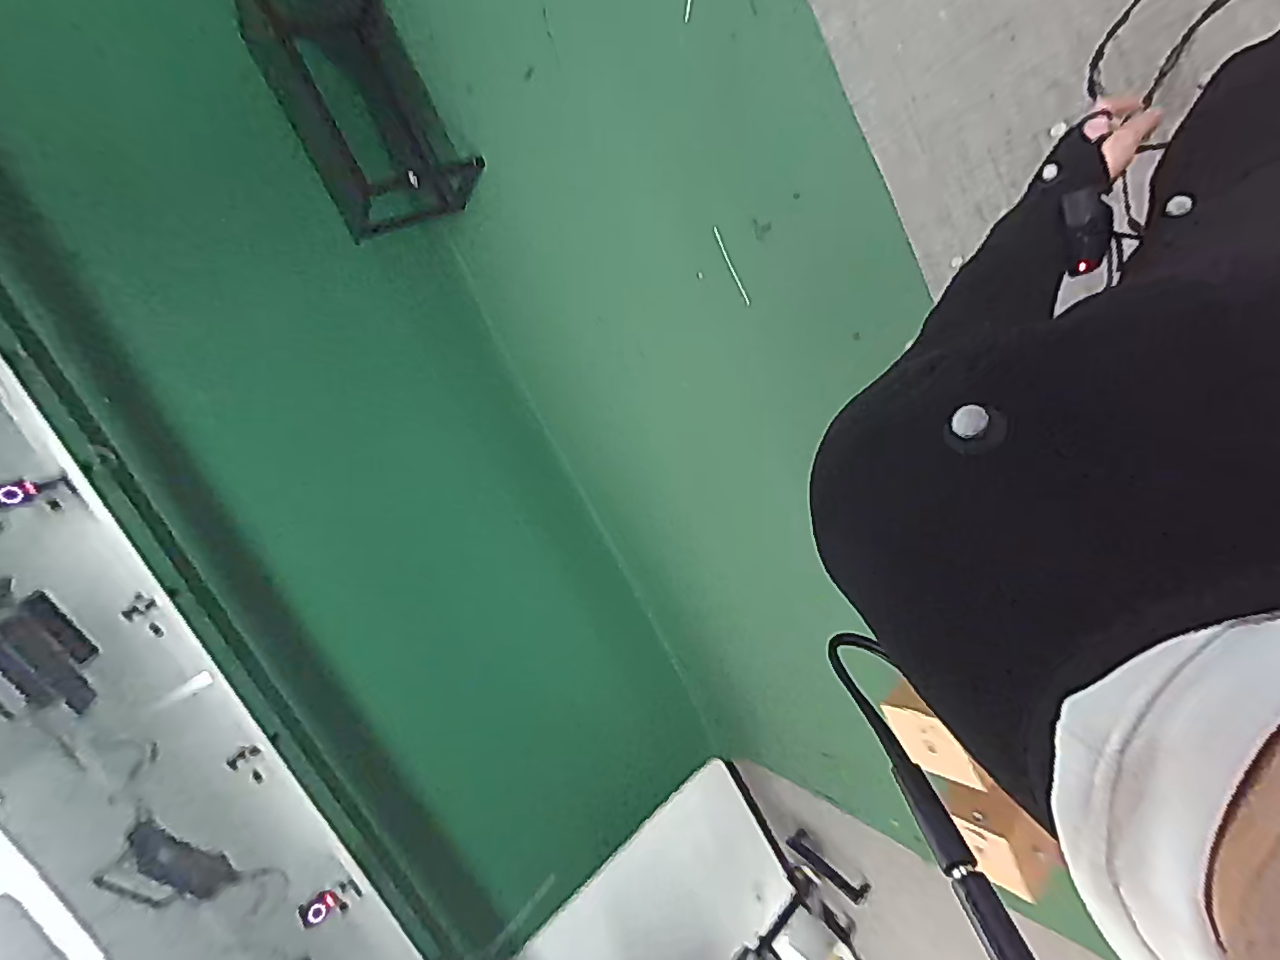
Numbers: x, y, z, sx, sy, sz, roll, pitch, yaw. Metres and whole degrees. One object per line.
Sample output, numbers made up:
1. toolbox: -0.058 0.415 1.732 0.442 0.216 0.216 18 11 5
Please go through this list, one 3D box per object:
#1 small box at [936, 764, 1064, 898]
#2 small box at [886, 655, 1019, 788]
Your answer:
1. small box: 0.819 0.774 1.227 0.168 0.176 0.179 -10 110 61
2. small box: 0.683 0.515 1.178 0.168 0.176 0.179 -15 105 61
